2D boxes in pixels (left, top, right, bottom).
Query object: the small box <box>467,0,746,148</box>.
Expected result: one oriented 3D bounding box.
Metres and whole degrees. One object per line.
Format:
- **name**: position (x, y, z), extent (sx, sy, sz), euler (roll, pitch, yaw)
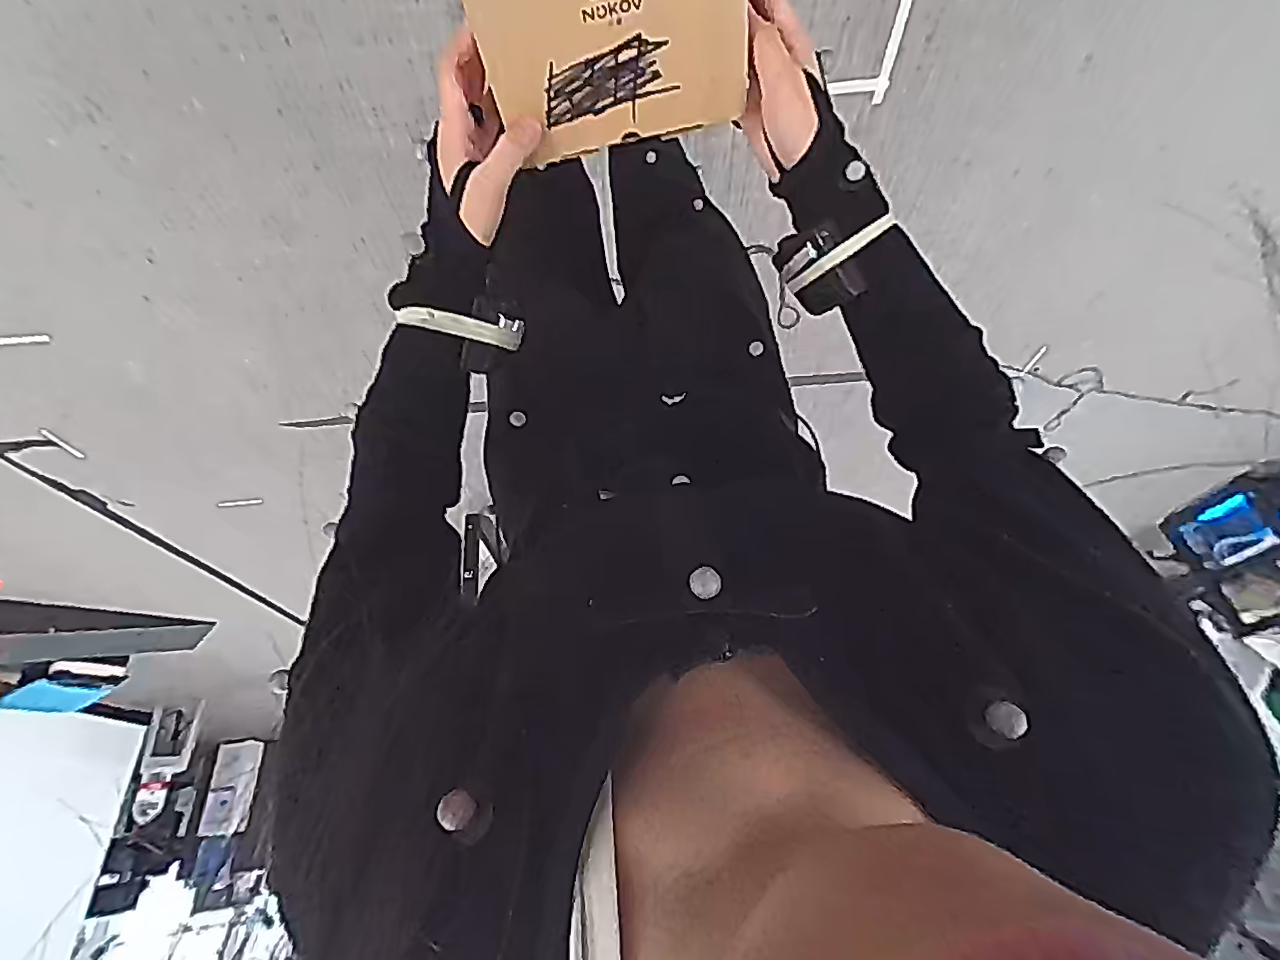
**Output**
- **small box**: position (-0.029, -0.358, 0.344), extent (0.168, 0.176, 0.179), euler (-10, 149, 3)
